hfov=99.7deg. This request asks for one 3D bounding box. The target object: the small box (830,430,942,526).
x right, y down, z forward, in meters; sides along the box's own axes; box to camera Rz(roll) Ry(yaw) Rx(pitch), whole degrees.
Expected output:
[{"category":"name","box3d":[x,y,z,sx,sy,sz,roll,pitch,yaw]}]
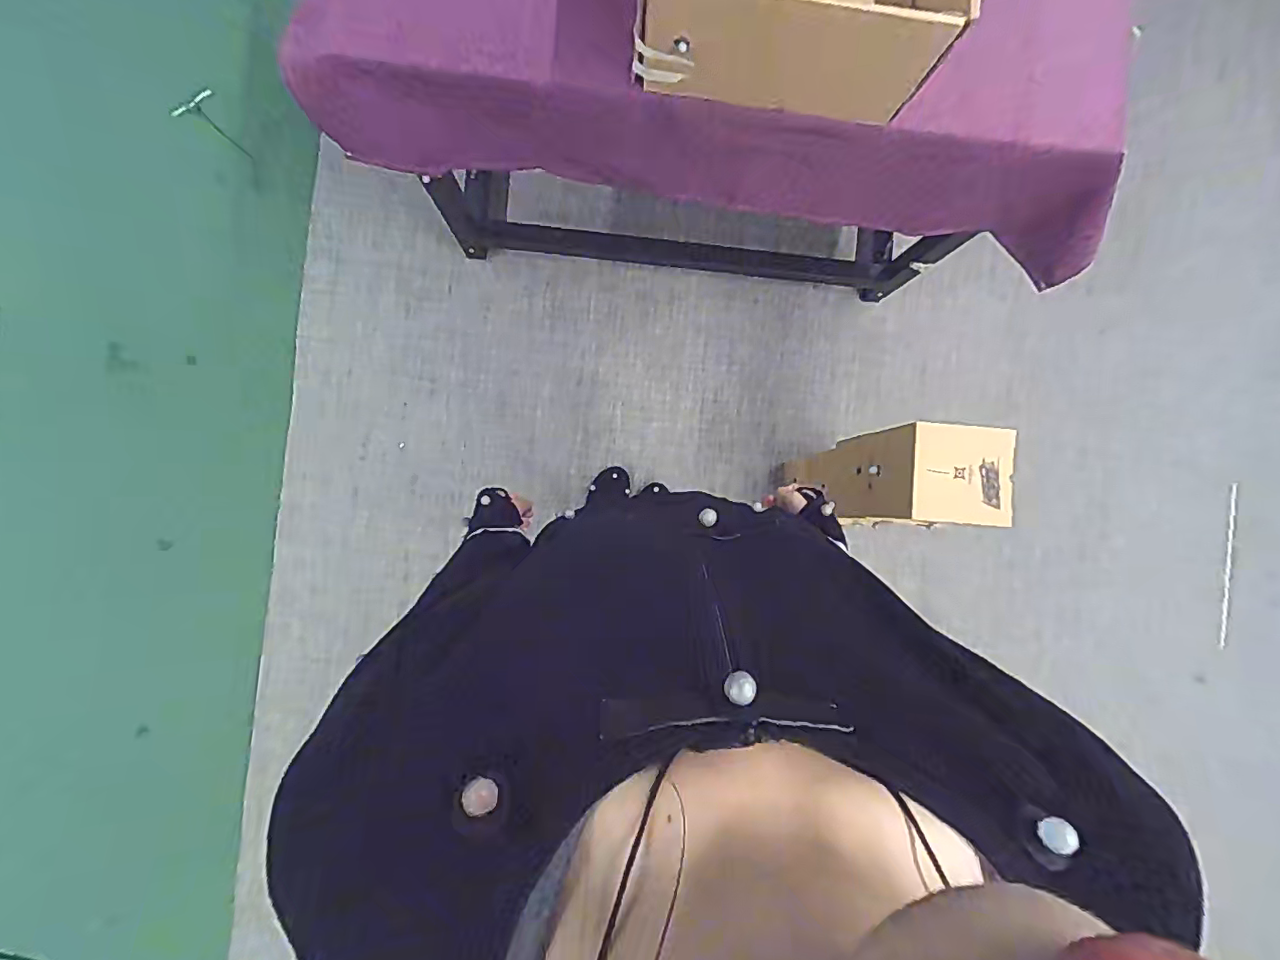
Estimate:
[{"category":"small box","box3d":[0.516,0.000,1.139,0.168,0.176,0.179,6,87,-3]}]

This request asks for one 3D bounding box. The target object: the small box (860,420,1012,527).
[{"category":"small box","box3d":[0.525,-0.008,0.975,0.179,0.176,0.168,5,87,-3]}]
